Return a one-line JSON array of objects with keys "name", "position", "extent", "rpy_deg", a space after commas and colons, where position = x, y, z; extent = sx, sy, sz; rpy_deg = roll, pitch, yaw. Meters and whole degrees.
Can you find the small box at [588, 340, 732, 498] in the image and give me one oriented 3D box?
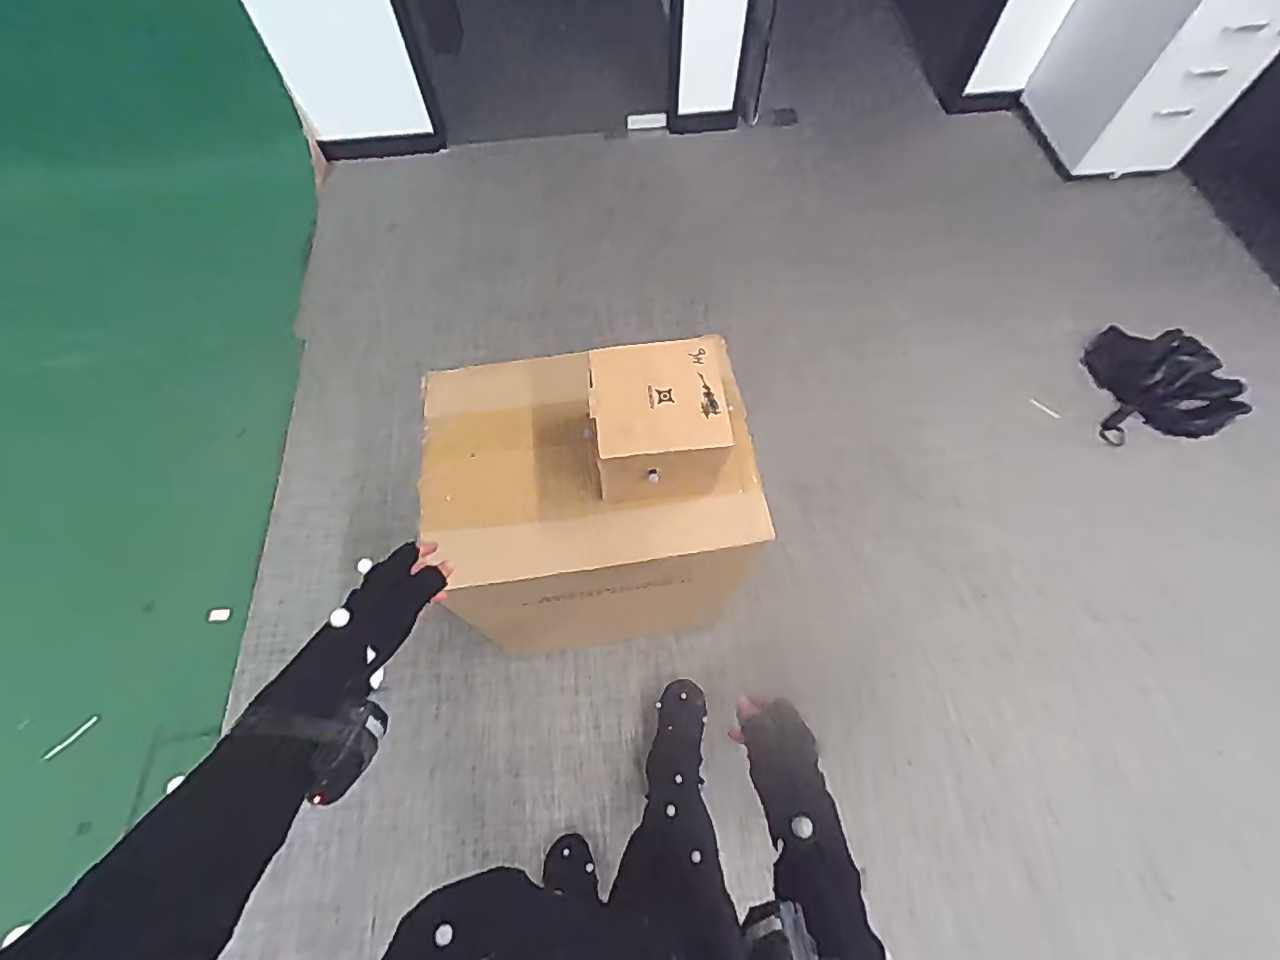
[{"name": "small box", "position": [0.024, -0.080, 0.788], "extent": [0.179, 0.176, 0.168], "rpy_deg": [-6, 69, -3]}]
